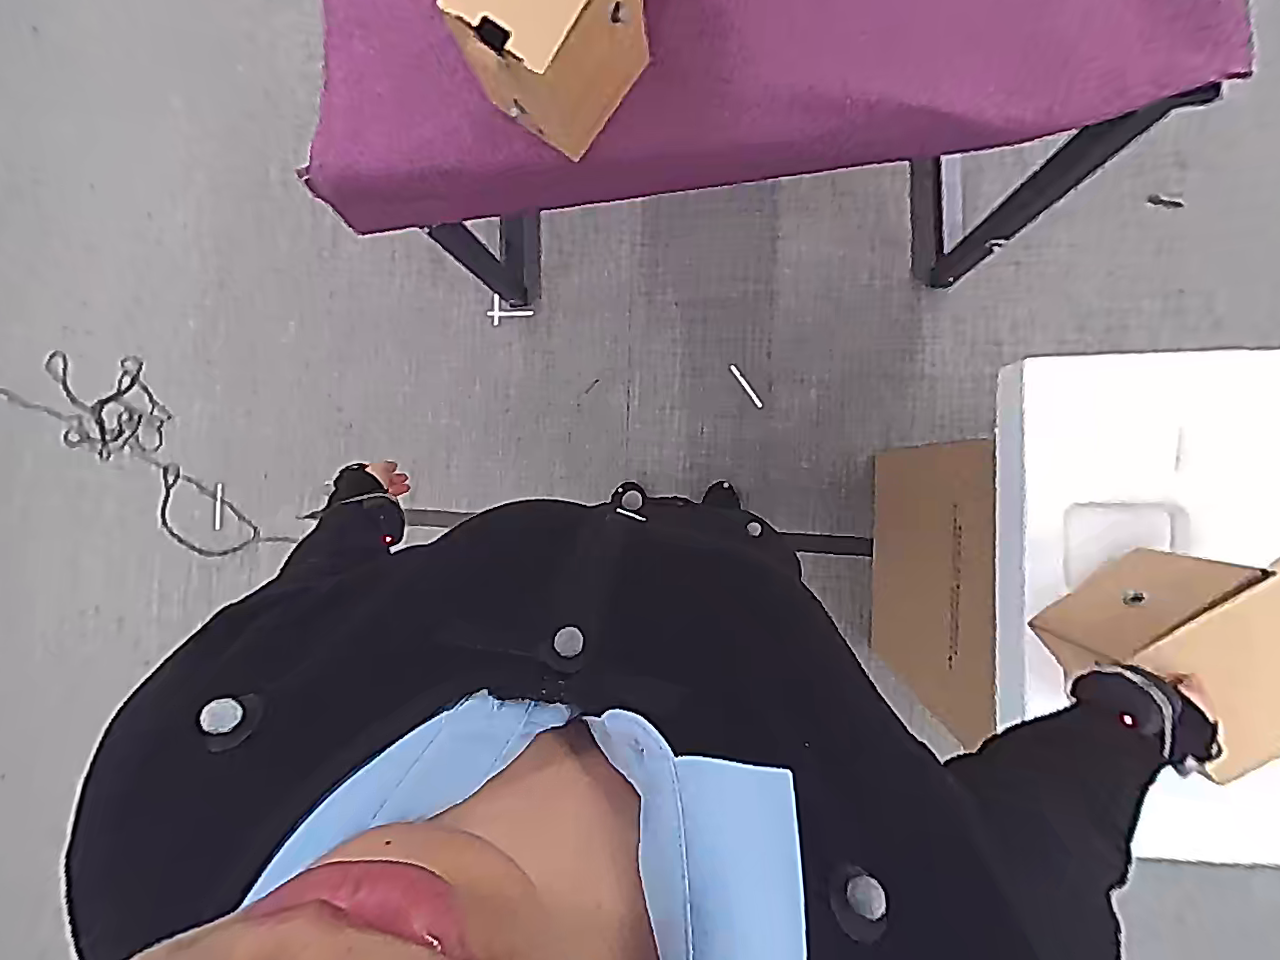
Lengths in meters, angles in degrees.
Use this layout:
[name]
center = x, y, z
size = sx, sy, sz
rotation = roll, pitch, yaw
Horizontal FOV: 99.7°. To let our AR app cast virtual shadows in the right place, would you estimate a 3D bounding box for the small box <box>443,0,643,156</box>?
[small box]
center = -0.109, -0.576, 0.697
size = 0.168, 0.176, 0.179
rotation = 38, 94, 7
